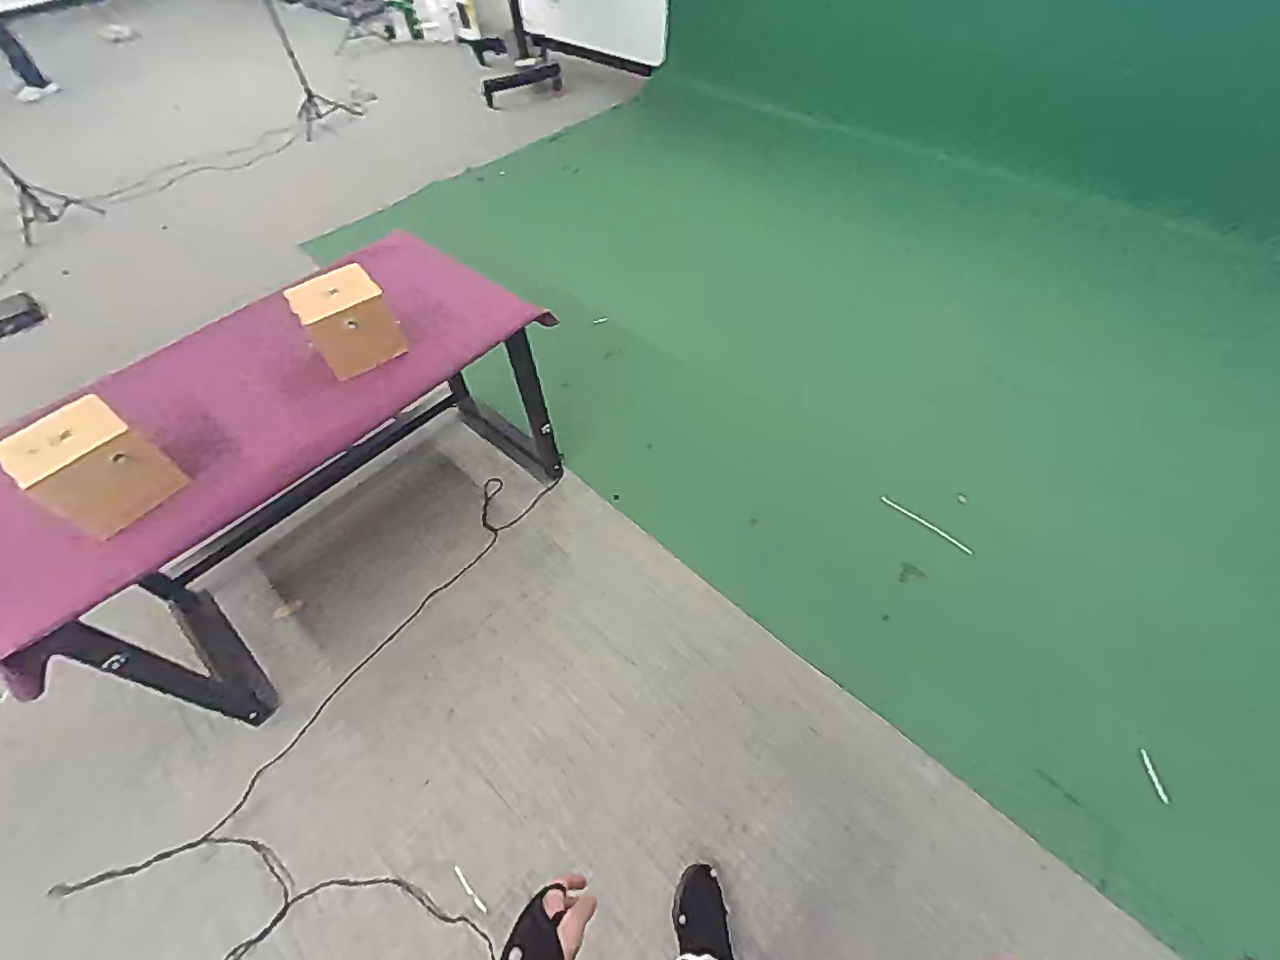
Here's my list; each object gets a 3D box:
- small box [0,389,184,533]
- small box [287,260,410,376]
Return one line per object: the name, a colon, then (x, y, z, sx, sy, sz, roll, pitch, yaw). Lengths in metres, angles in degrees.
small box: (-1.032, -0.034, 1.033, 0.168, 0.176, 0.179, 31, 62, 23)
small box: (-0.674, -0.375, 1.265, 0.179, 0.176, 0.168, -32, 59, -19)
